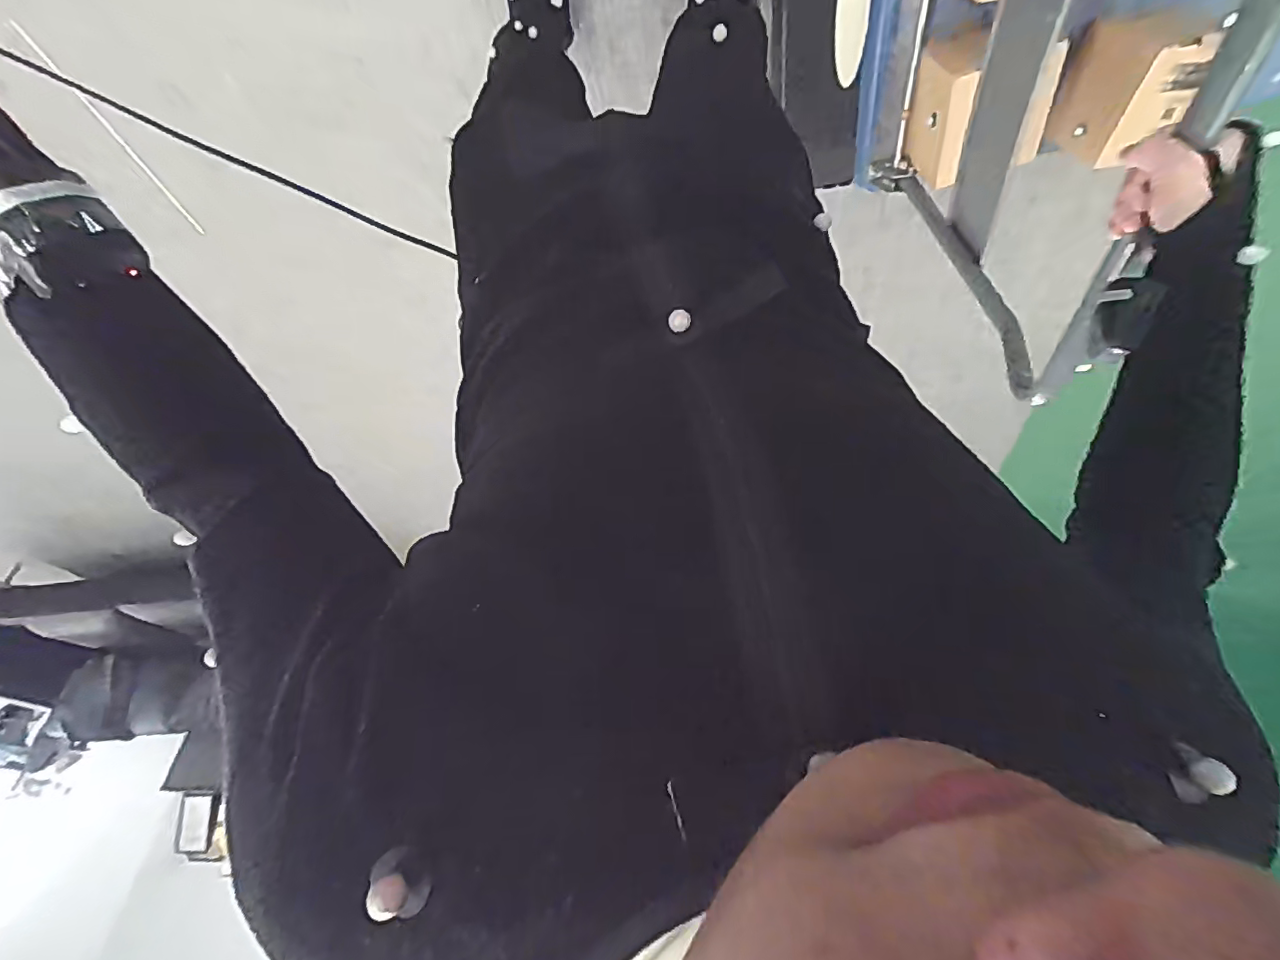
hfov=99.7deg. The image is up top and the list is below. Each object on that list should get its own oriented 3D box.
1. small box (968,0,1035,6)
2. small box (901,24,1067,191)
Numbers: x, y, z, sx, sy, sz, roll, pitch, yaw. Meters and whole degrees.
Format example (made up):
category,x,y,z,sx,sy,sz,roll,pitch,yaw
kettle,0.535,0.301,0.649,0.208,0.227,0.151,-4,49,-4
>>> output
category,x,y,z,sx,sy,sz,roll,pitch,yaw
small box,0.541,-0.780,0.733,0.179,0.176,0.168,-7,143,1
small box,0.564,-0.635,0.919,0.168,0.176,0.179,-13,143,8
